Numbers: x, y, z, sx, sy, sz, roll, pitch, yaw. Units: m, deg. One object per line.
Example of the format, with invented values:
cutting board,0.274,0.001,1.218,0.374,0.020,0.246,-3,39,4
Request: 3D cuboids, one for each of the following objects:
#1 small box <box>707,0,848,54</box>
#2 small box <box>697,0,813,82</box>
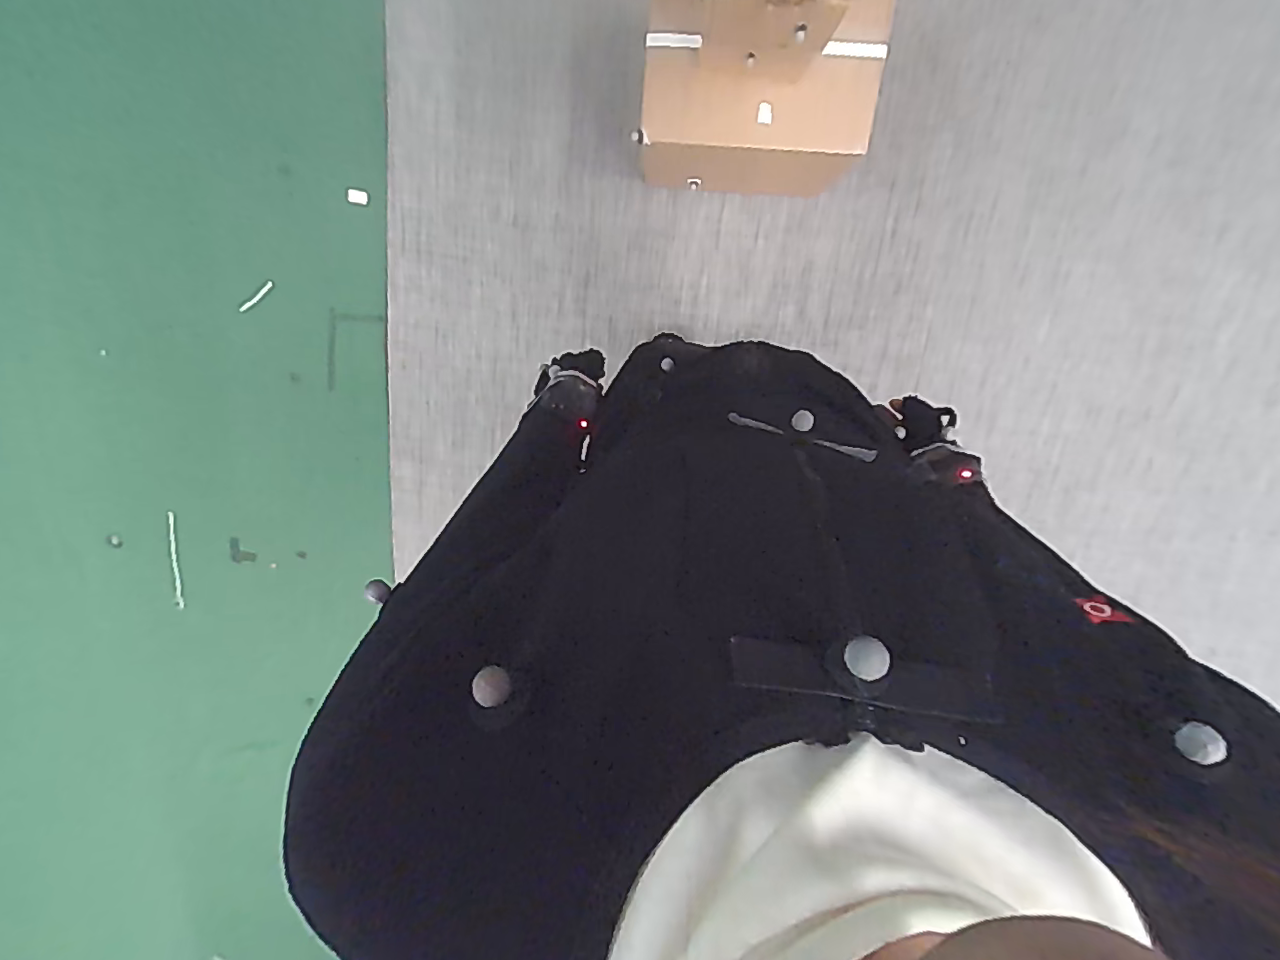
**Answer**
small box,0.178,-0.675,0.683,0.168,0.176,0.179,5,110,1
small box,0.191,-0.743,0.827,0.179,0.176,0.168,12,110,0
